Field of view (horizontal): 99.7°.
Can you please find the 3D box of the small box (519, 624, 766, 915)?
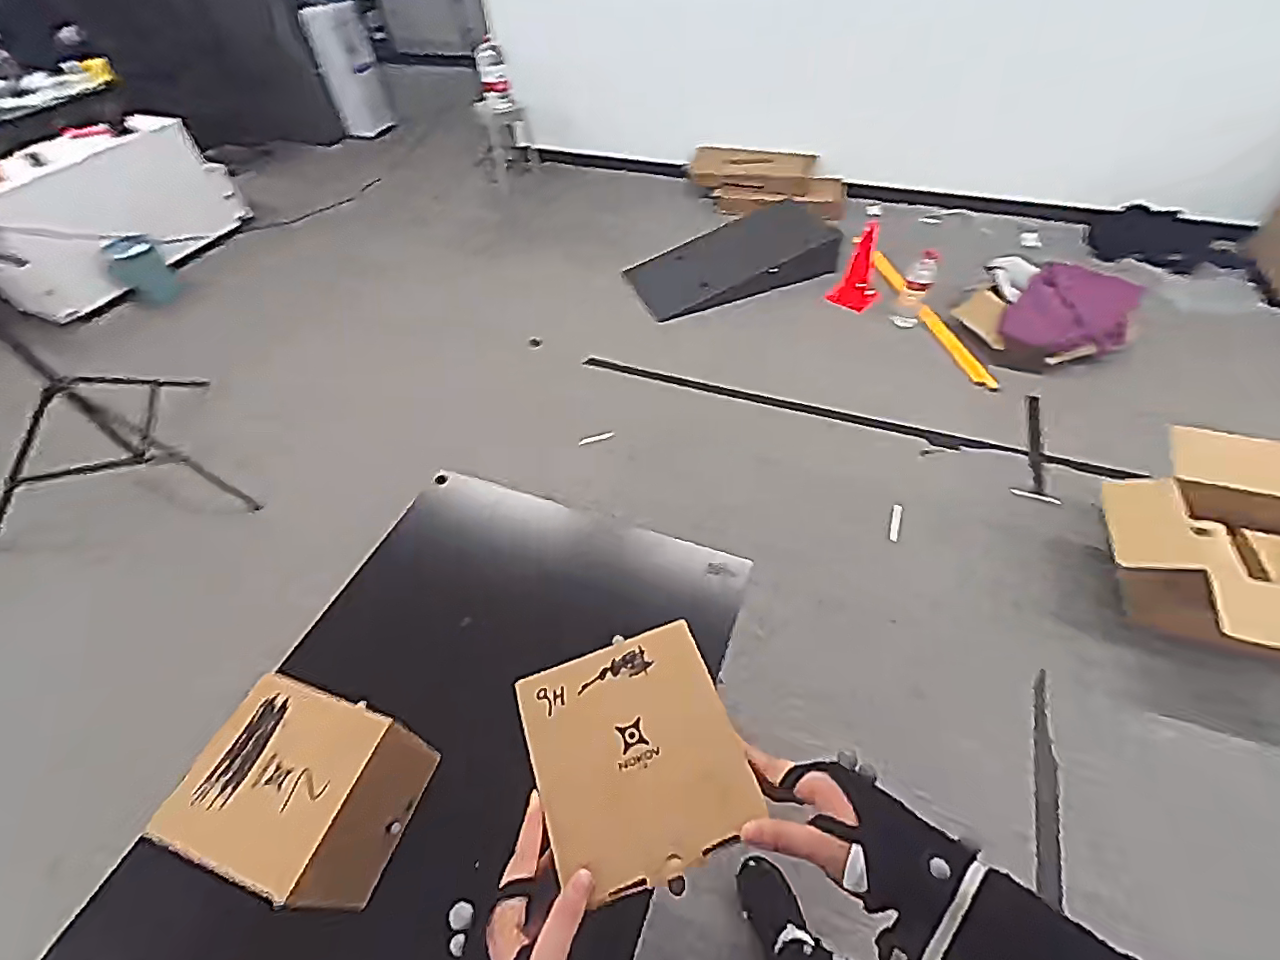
[{"bbox_3d":[-0.001,0.268,0.510,0.168,0.176,0.179,-17,55,-10],"label":"small box"}]
